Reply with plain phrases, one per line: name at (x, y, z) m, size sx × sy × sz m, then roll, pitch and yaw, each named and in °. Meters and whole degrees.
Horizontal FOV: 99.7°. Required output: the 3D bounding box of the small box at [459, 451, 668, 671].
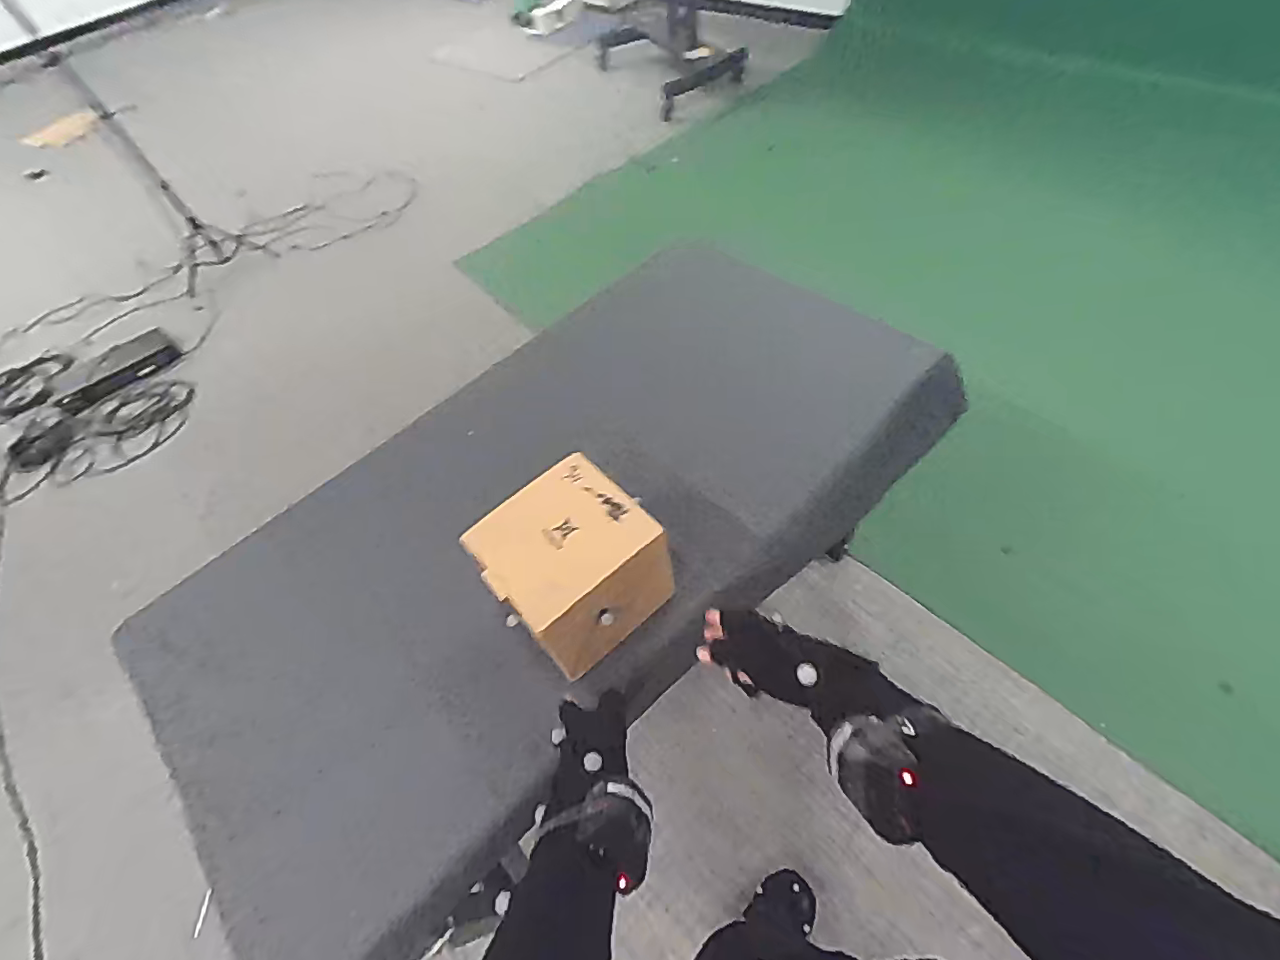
small box at (-0.083, 0.105, 0.671) m, size 0.179 × 0.176 × 0.168 m, roll -39°, pitch 57°, yaw -16°
